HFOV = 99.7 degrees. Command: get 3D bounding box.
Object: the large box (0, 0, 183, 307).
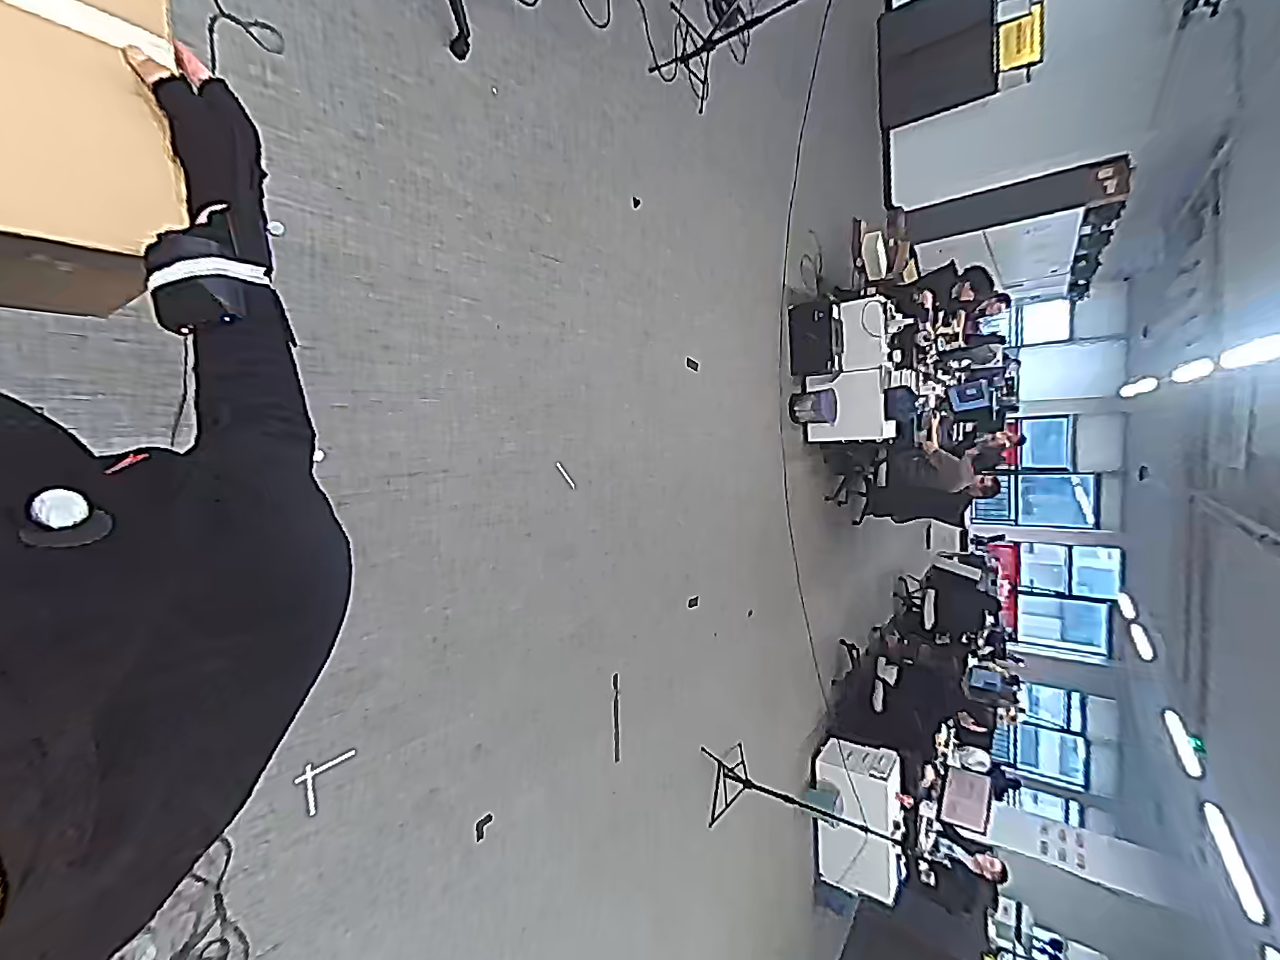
[{"bbox_3d":[-0.617,-0.321,0.357,0.408,0.320,0.320,-8,100,-54],"label":"large box"}]
